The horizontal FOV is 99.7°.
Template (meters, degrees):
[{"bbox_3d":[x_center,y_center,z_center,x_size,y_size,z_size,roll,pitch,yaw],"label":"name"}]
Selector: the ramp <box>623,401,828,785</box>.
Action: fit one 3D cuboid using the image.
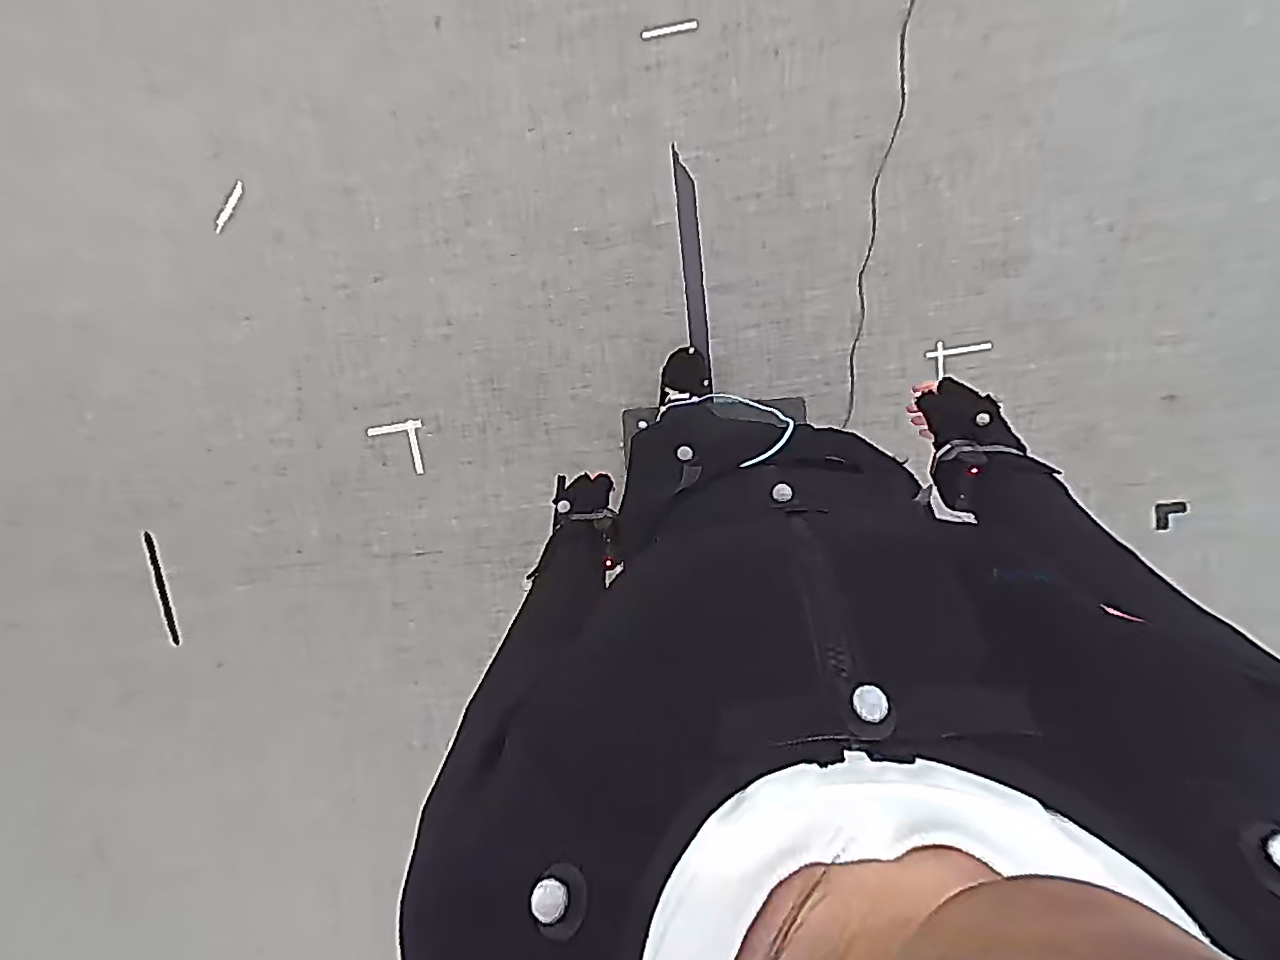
[{"bbox_3d":[0.216,0.299,1.446,0.509,0.206,0.991,-5,97,9],"label":"ramp"}]
